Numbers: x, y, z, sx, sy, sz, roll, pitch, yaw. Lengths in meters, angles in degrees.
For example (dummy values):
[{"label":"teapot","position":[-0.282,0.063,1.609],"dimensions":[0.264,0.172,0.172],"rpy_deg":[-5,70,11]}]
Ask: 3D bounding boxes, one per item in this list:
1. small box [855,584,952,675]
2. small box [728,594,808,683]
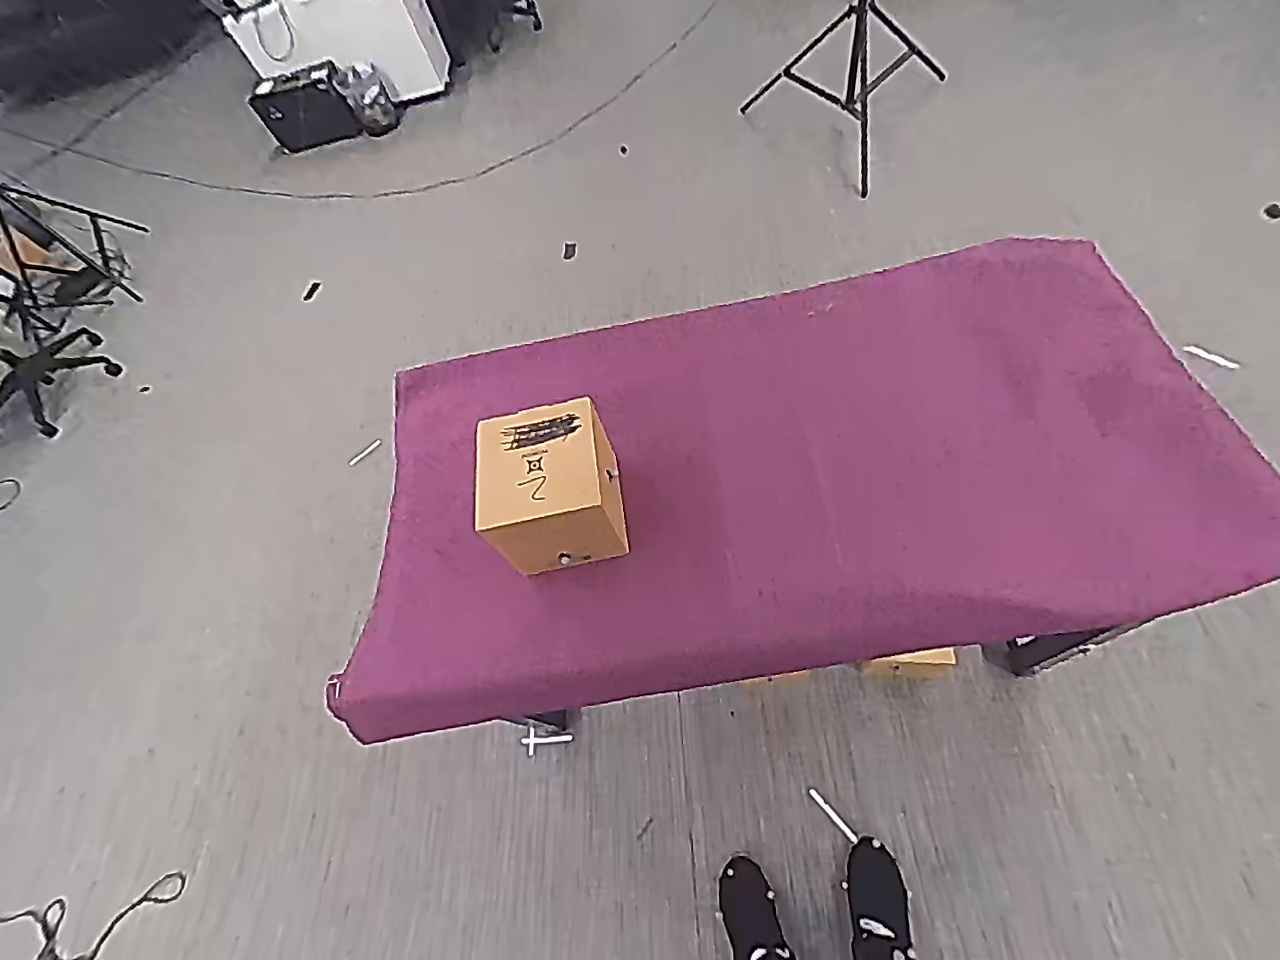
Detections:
[{"label":"small box","position":[0.613,0.357,1.279],"dimensions":[0.168,0.176,0.179],"rpy_deg":[-2,60,12]},{"label":"small box","position":[0.310,0.394,1.324],"dimensions":[0.168,0.176,0.179],"rpy_deg":[-7,59,8]}]
